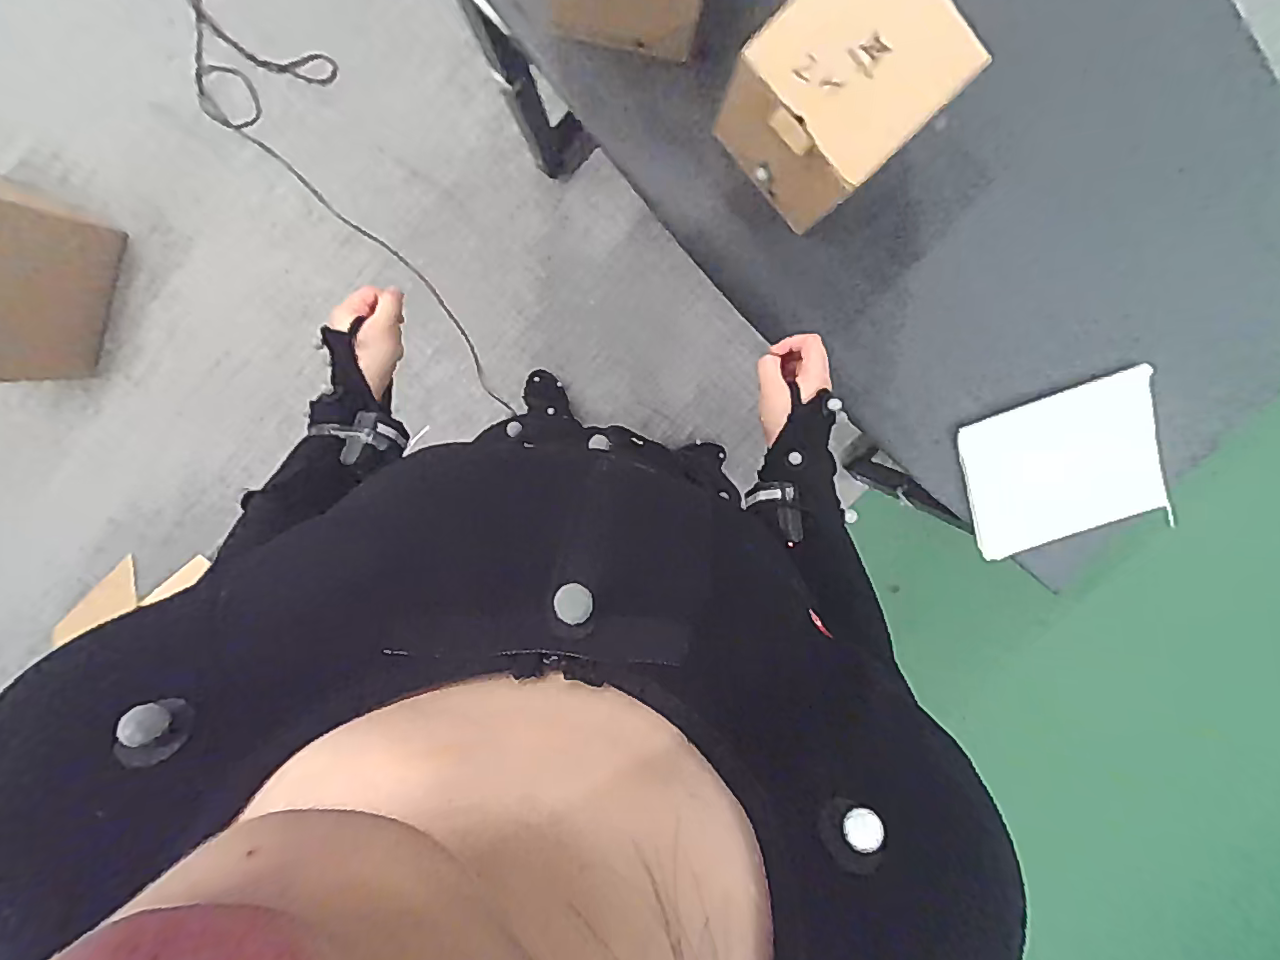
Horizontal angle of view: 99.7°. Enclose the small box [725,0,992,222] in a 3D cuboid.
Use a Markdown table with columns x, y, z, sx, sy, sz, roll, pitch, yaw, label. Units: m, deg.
| x | y | z | sx | sy | sz | roll | pitch | yaw | label |
| --- | --- | --- | --- | --- | --- | --- | --- | --- | --- |
| 0.213 | -0.419 | 0.583 | 0.179 | 0.176 | 0.168 | -43 | 98 | 7 | small box |
